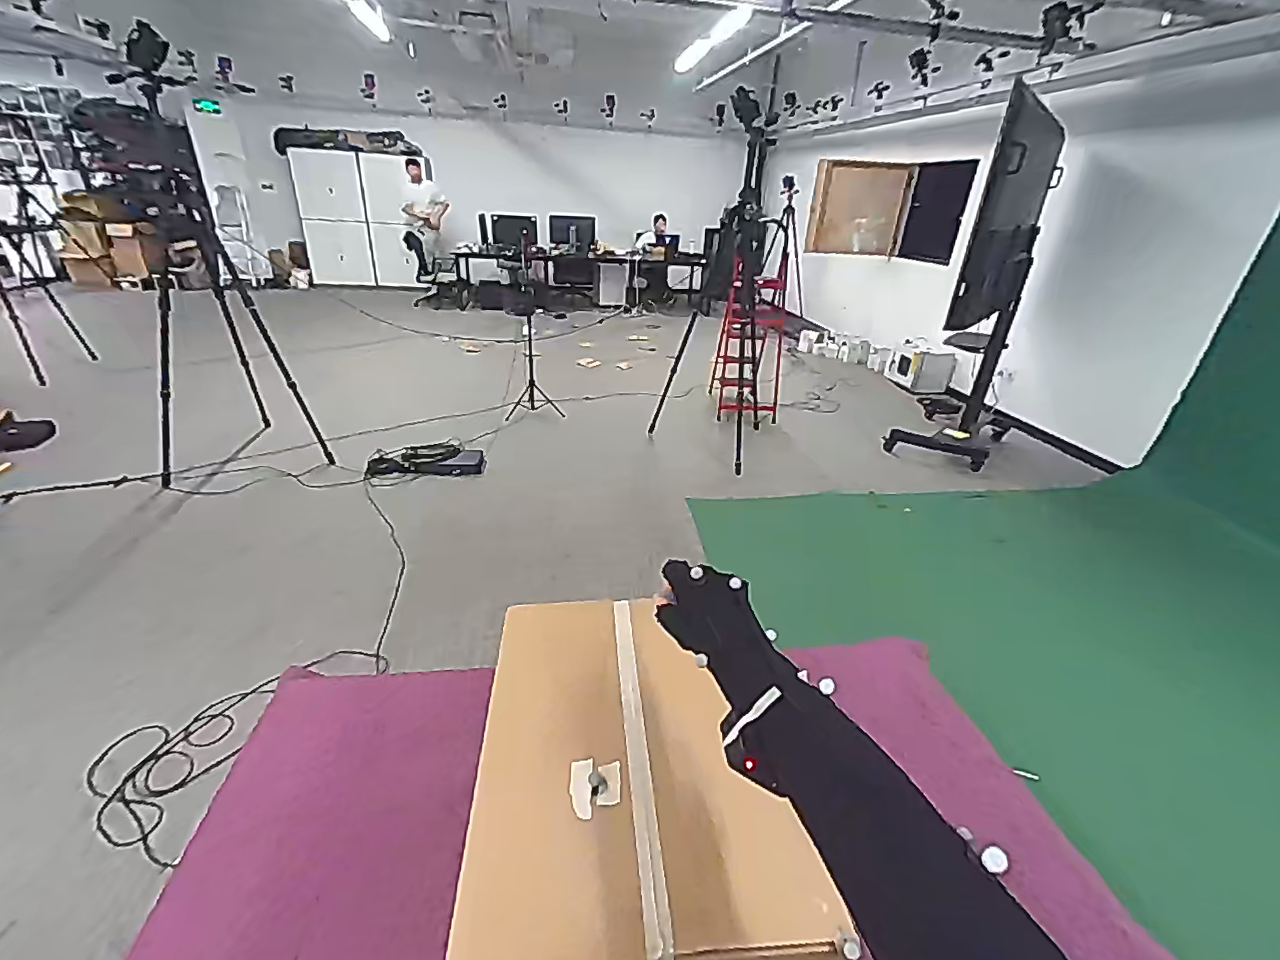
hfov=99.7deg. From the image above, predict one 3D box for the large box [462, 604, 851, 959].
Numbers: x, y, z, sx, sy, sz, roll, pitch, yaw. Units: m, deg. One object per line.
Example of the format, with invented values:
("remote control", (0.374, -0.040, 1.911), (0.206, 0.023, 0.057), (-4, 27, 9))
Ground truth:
("large box", (-0.013, 0.401, 0.654), (0.320, 0.320, 0.408), (0, 28, -6))
